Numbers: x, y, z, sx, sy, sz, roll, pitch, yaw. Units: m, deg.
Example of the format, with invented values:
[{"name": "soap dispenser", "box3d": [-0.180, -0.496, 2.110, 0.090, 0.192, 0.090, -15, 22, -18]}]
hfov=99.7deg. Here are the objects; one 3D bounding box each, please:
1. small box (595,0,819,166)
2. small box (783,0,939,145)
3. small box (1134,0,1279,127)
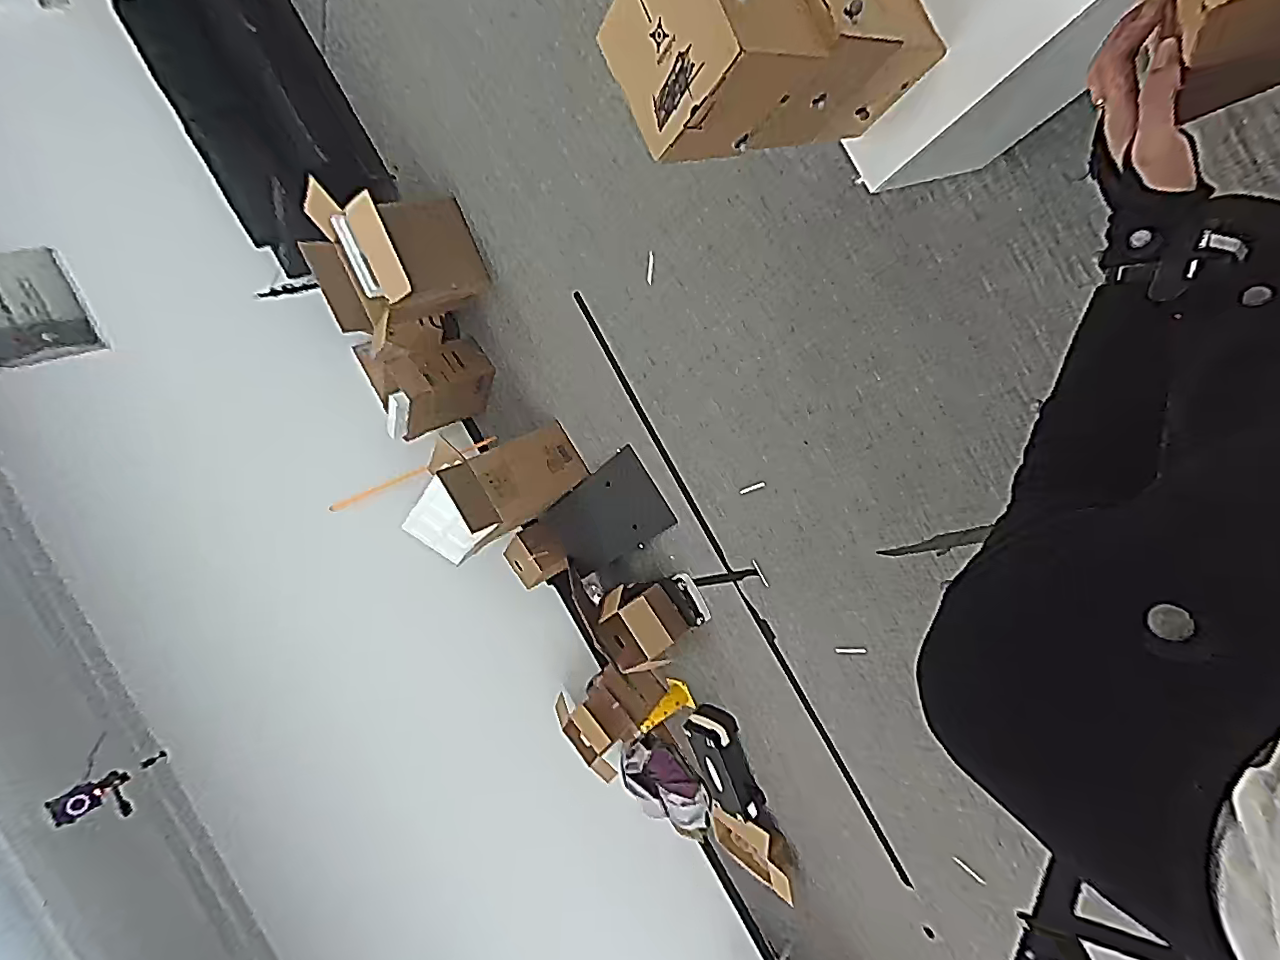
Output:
[{"name": "small box", "box3d": [0.082, -0.519, 0.654, 0.168, 0.176, 0.179, -22, 95, 56]}, {"name": "small box", "box3d": [0.321, -0.659, 0.832, 0.168, 0.176, 0.179, -28, 91, 55]}, {"name": "small box", "box3d": [0.416, -0.364, 0.323, 0.168, 0.176, 0.179, -11, 88, 39]}]
